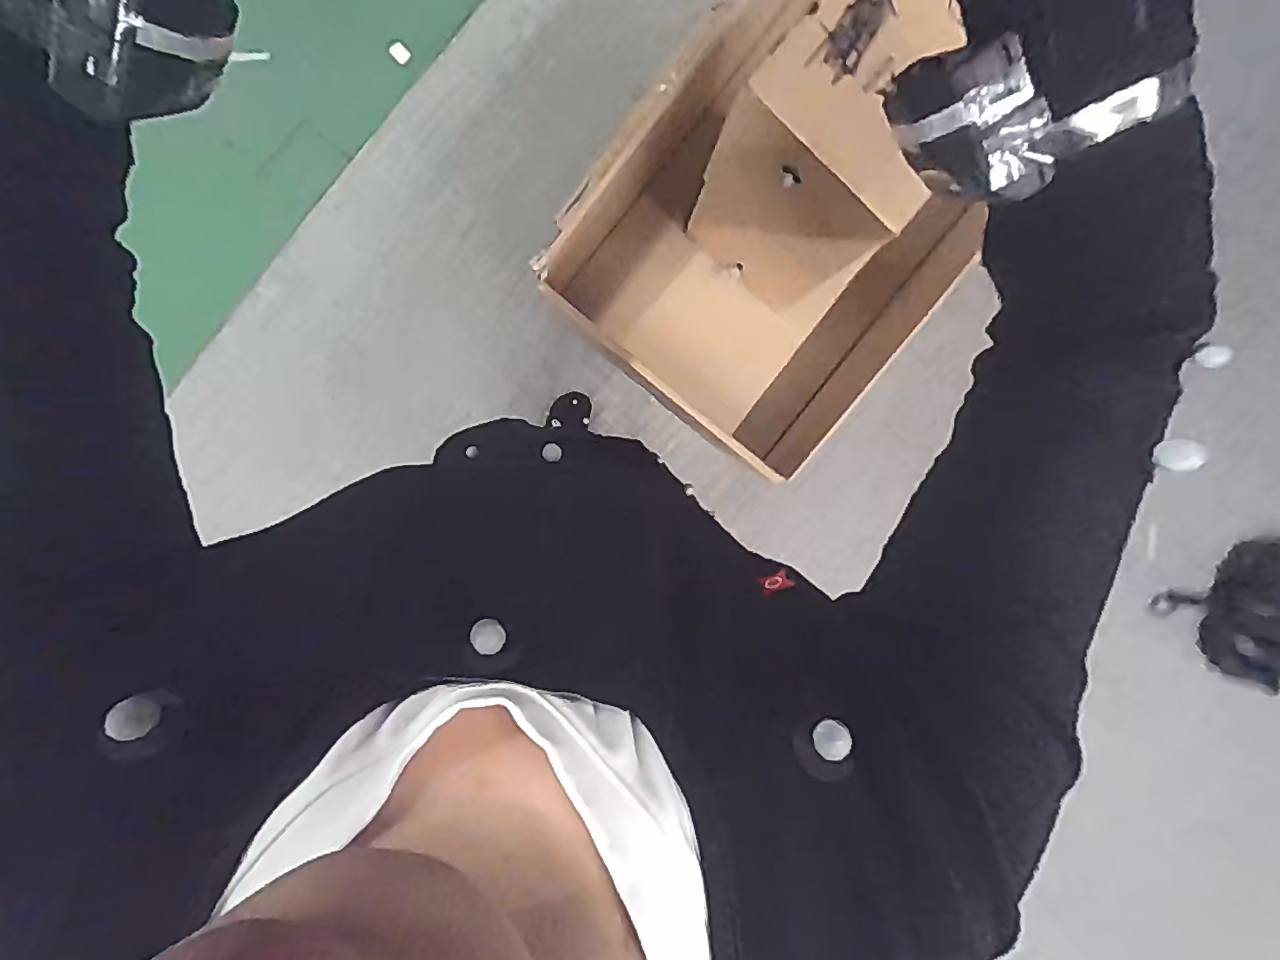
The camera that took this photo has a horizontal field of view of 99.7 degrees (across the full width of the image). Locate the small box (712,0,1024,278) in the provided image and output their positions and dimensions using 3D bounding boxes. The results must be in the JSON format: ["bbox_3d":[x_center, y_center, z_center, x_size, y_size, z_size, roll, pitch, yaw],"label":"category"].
[{"bbox_3d":[0.192,-0.324,0.513,0.179,0.176,0.168,42,91,-7],"label":"small box"}]

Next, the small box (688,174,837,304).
[{"bbox_3d":[0.184,-0.343,0.676,0.179,0.176,0.168,39,91,-7],"label":"small box"}]
